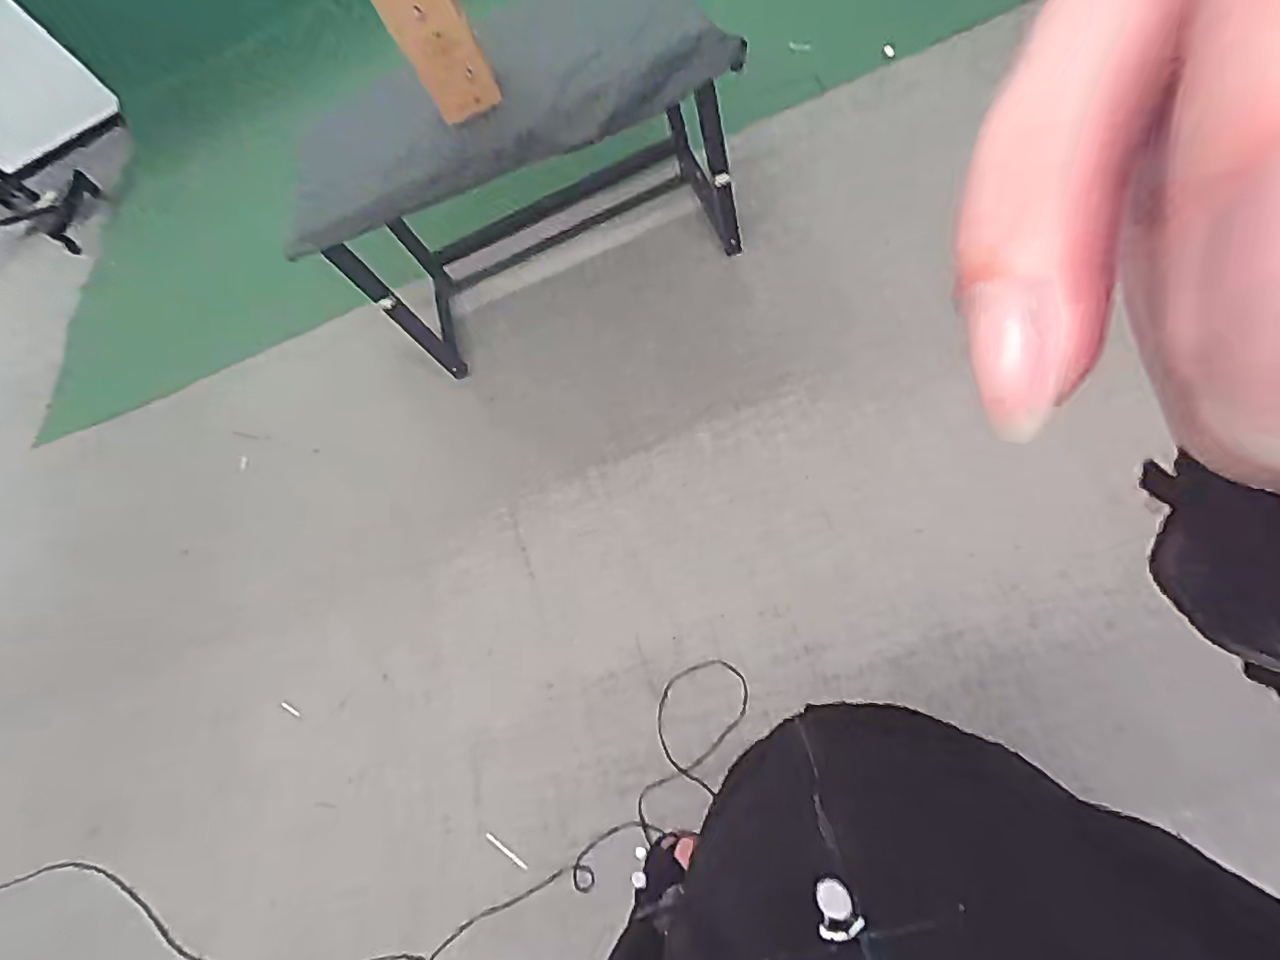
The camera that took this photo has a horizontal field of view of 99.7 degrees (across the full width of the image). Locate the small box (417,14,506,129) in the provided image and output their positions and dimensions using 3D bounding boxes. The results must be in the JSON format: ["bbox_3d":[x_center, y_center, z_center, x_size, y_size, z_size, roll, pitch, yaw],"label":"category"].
[{"bbox_3d":[-0.475,-1.075,1.438,0.168,0.176,0.179,-22,61,6],"label":"small box"}]

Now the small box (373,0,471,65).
[{"bbox_3d":[-0.523,-1.143,1.297,0.168,0.176,0.179,-20,64,7],"label":"small box"}]
